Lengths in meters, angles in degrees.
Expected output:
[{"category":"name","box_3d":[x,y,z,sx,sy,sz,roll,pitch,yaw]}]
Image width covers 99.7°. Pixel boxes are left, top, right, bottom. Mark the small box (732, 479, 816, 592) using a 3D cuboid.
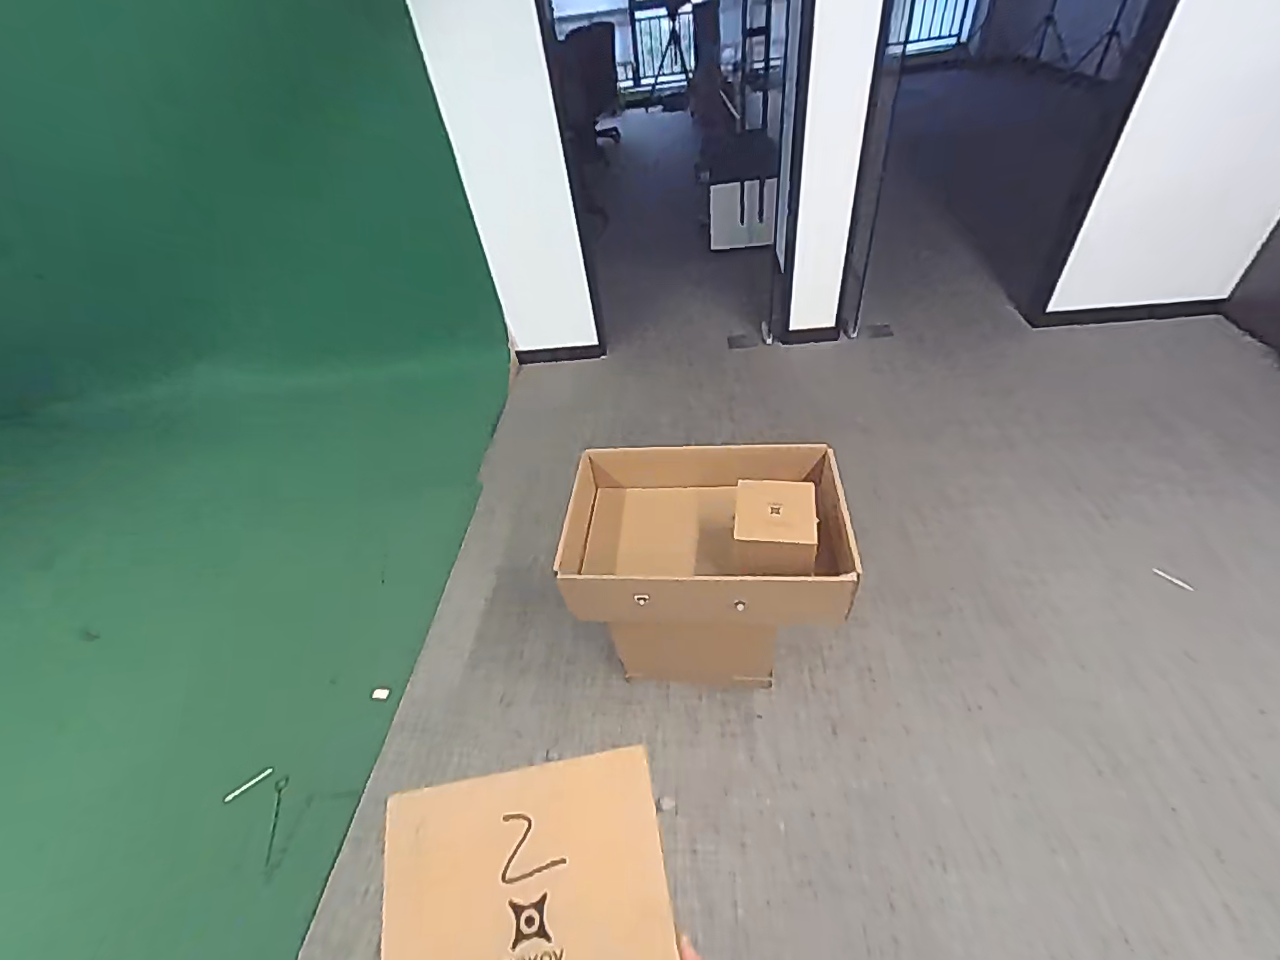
[{"category":"small box","box_3d":[0.292,0.121,1.186,0.168,0.176,0.179,2,44,13]}]
